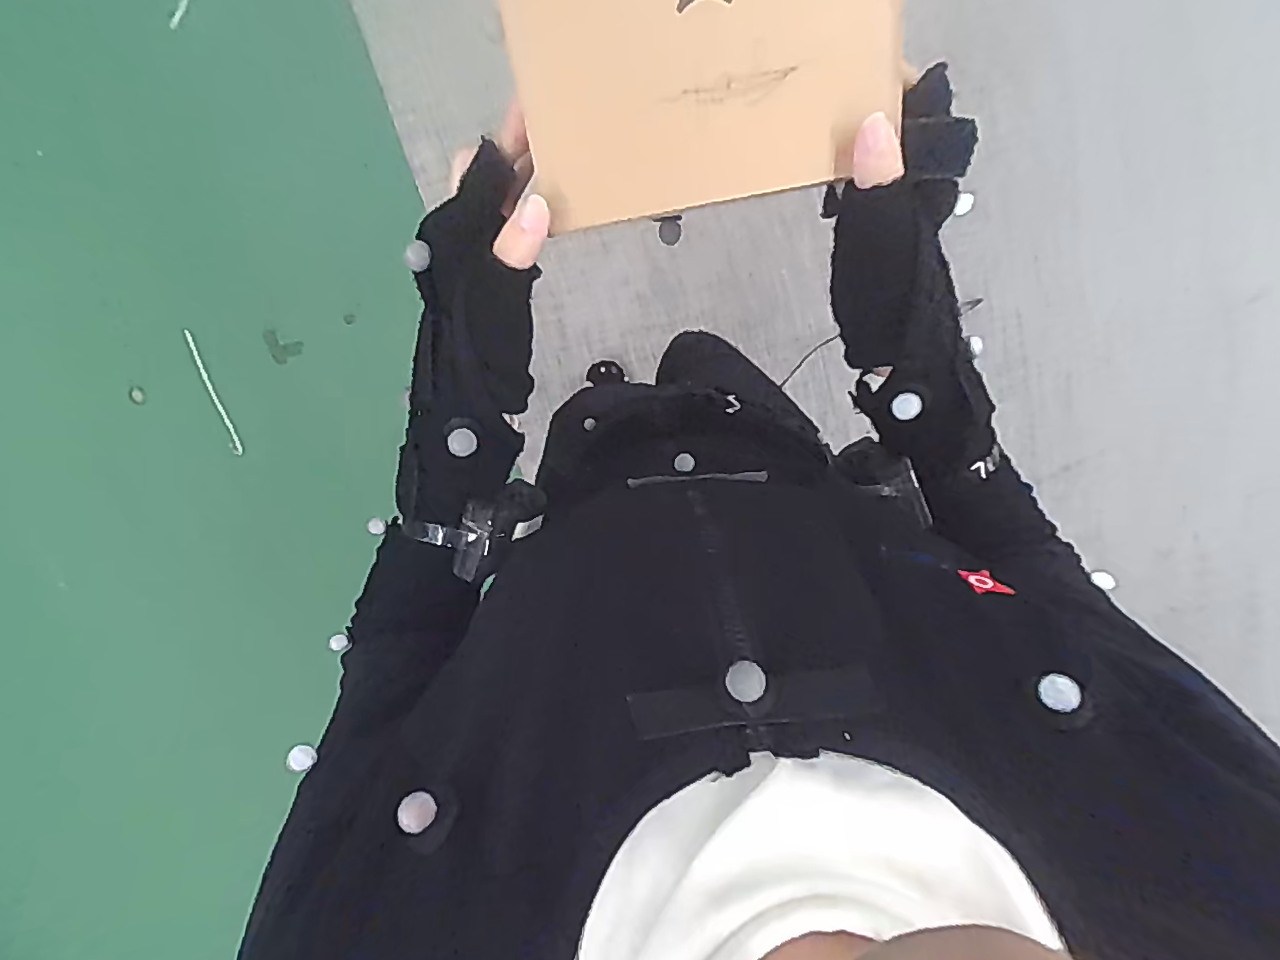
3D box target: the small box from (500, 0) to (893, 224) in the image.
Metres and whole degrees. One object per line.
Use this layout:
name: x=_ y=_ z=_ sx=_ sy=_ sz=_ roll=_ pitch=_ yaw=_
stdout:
small box: x=0.016 y=-0.245 z=0.289 sx=0.168 sy=0.176 sz=0.179 roll=-10 pitch=115 yaw=1
